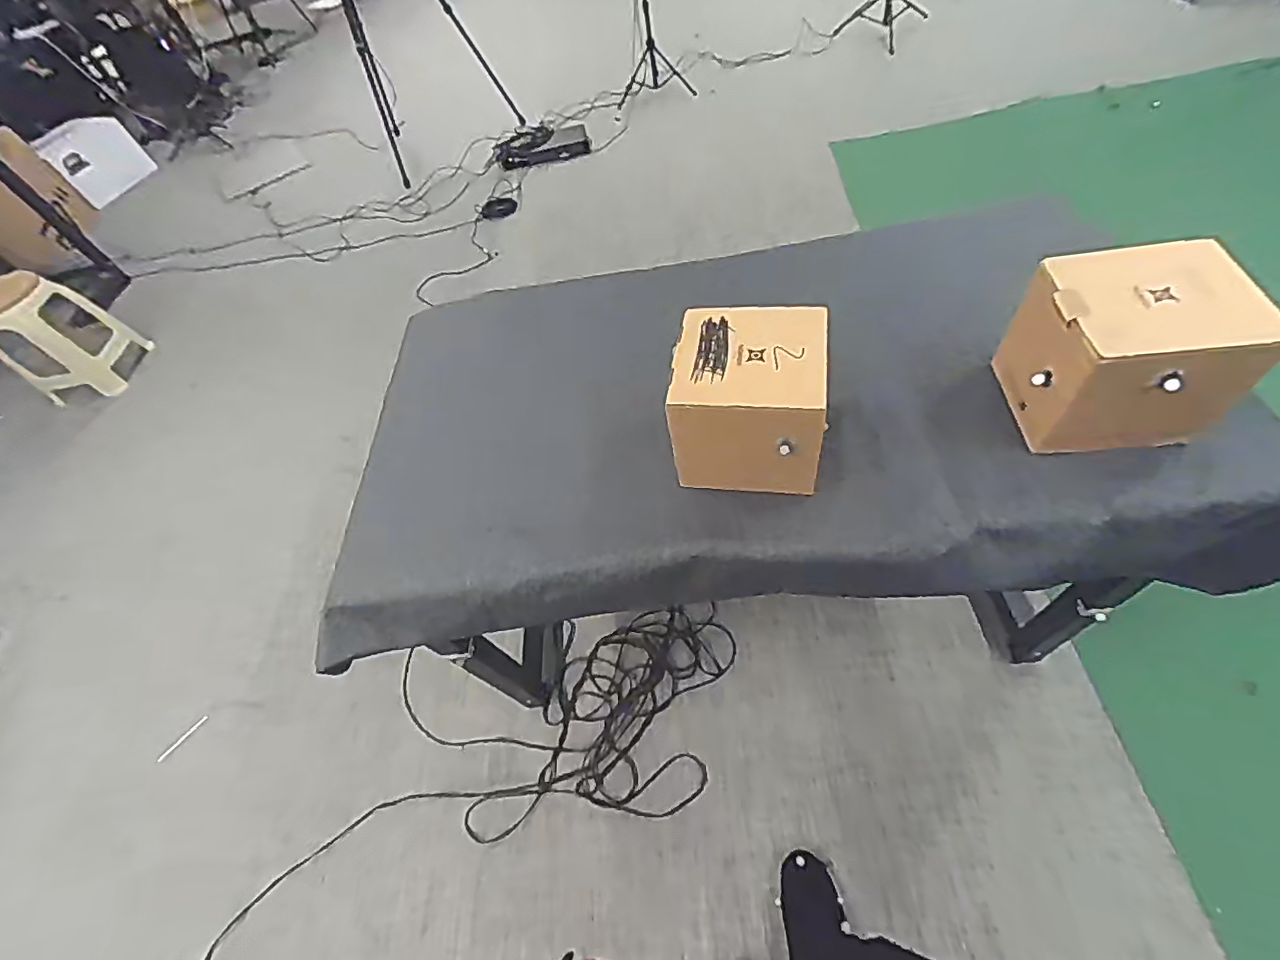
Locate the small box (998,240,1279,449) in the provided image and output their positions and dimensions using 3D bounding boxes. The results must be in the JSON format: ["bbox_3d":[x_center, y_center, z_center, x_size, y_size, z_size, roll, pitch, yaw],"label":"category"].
[{"bbox_3d":[0.555,-0.149,0.636,0.179,0.176,0.168,-3,57,10],"label":"small box"}]
